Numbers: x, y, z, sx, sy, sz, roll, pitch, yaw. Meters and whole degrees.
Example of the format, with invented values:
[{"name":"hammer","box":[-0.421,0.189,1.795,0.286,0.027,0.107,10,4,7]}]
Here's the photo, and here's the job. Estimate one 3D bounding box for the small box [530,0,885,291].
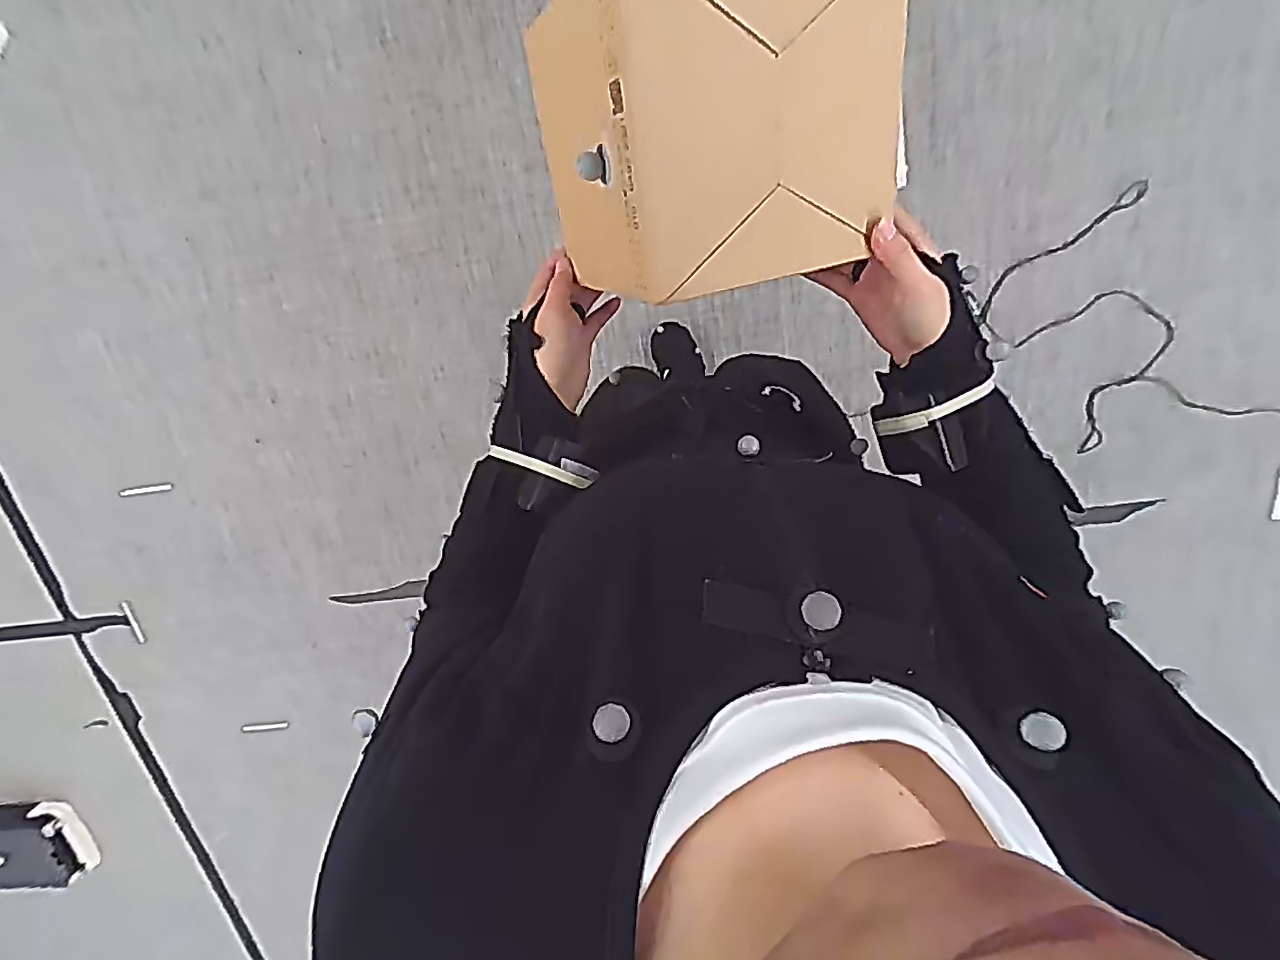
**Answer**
[{"name":"small box","box":[0.045,-0.232,0.369,0.179,0.176,0.168,-19,118,-18]}]
